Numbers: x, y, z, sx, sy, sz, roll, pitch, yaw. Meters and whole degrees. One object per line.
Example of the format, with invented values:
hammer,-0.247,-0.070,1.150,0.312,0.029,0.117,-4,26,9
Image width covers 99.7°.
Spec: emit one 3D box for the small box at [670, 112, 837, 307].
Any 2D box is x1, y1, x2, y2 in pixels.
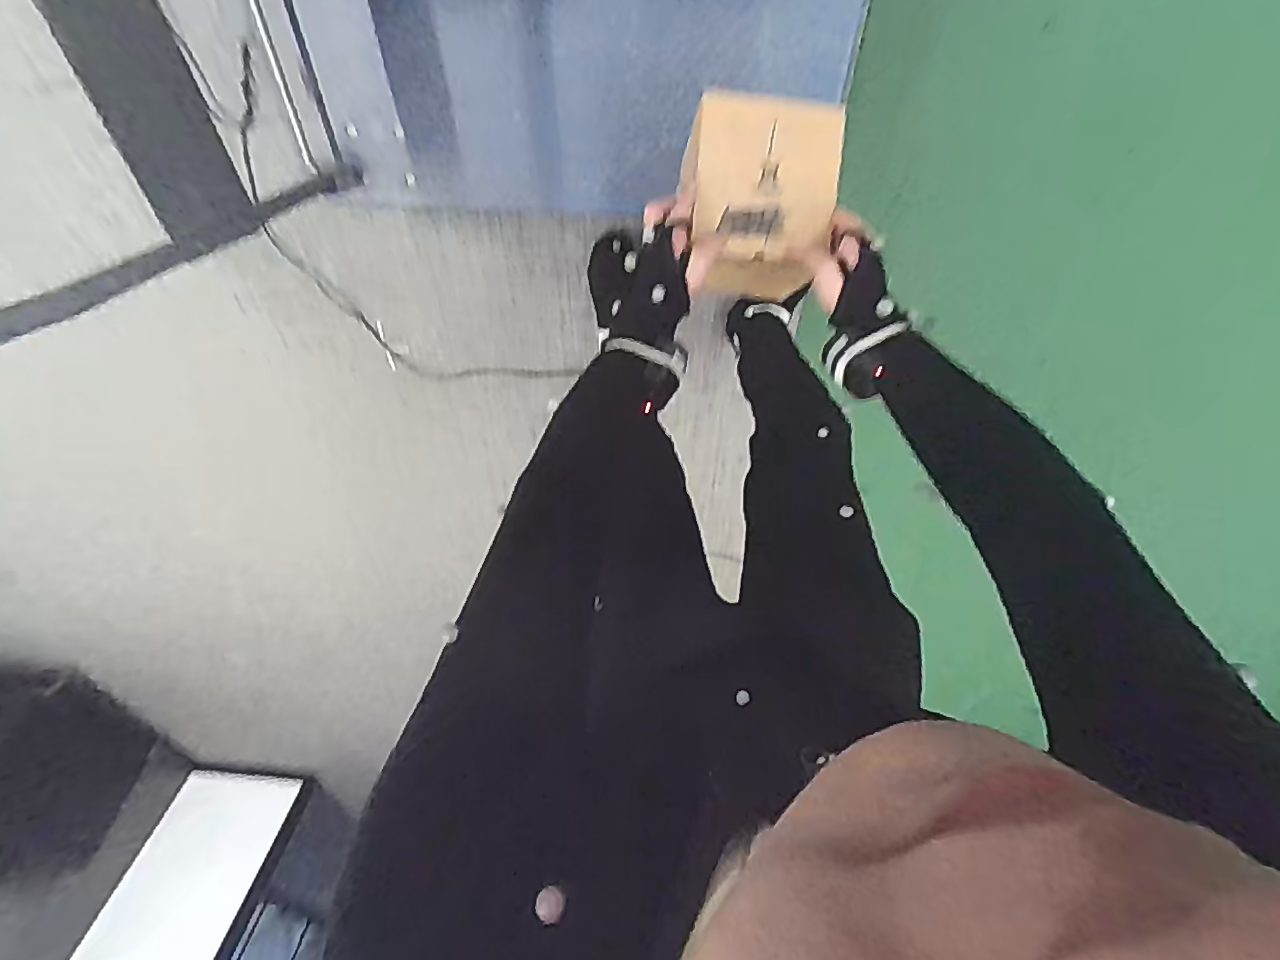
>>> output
small box,0.135,-0.336,0.710,0.168,0.176,0.179,4,95,-5
